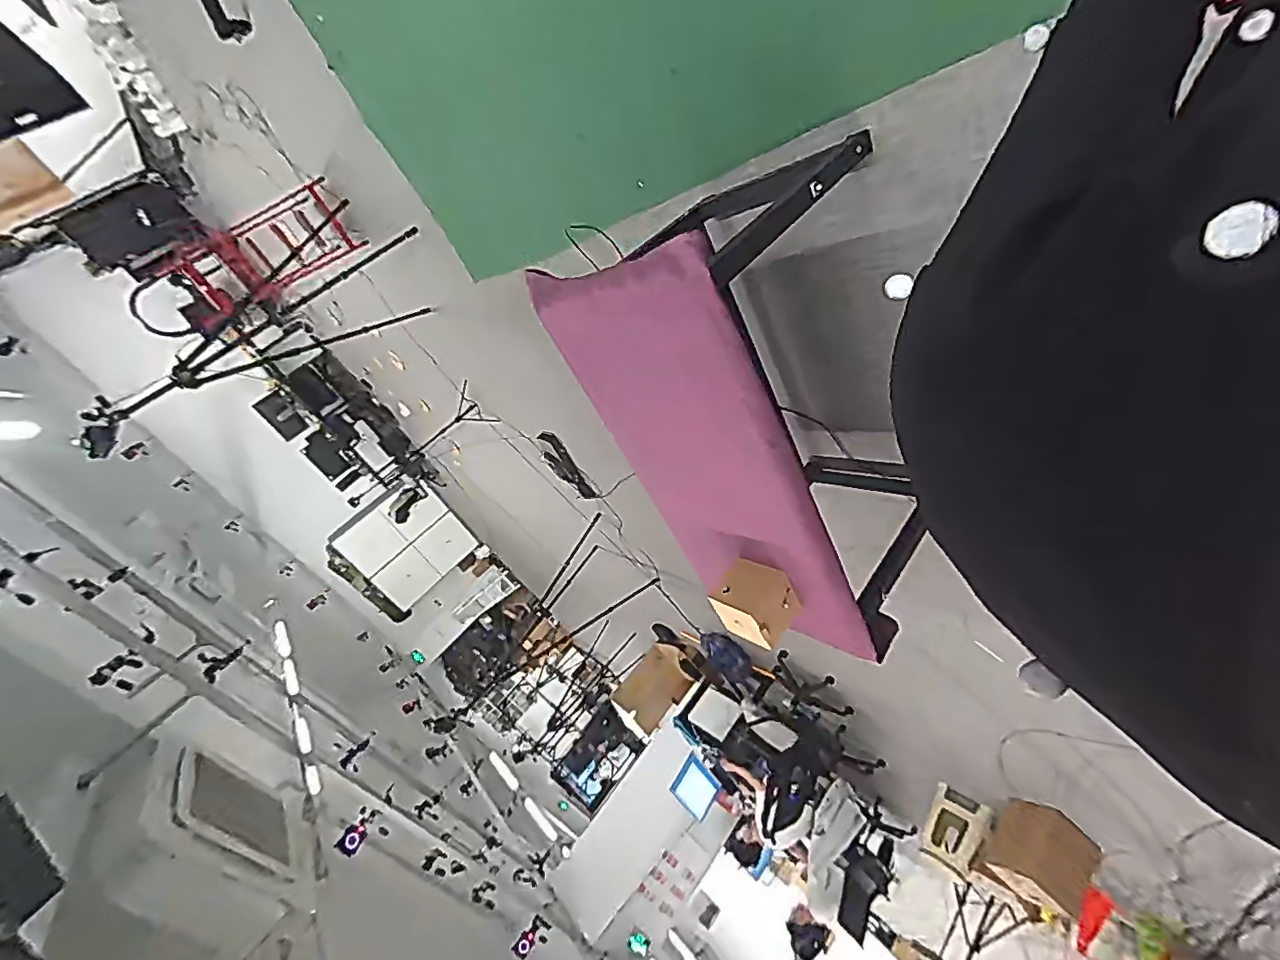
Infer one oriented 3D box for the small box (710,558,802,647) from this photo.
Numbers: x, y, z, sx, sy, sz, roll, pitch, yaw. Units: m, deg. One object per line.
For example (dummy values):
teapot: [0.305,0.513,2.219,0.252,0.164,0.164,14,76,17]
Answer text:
small box: [0.347,0.356,1.603,0.179,0.176,0.168,12,141,51]
